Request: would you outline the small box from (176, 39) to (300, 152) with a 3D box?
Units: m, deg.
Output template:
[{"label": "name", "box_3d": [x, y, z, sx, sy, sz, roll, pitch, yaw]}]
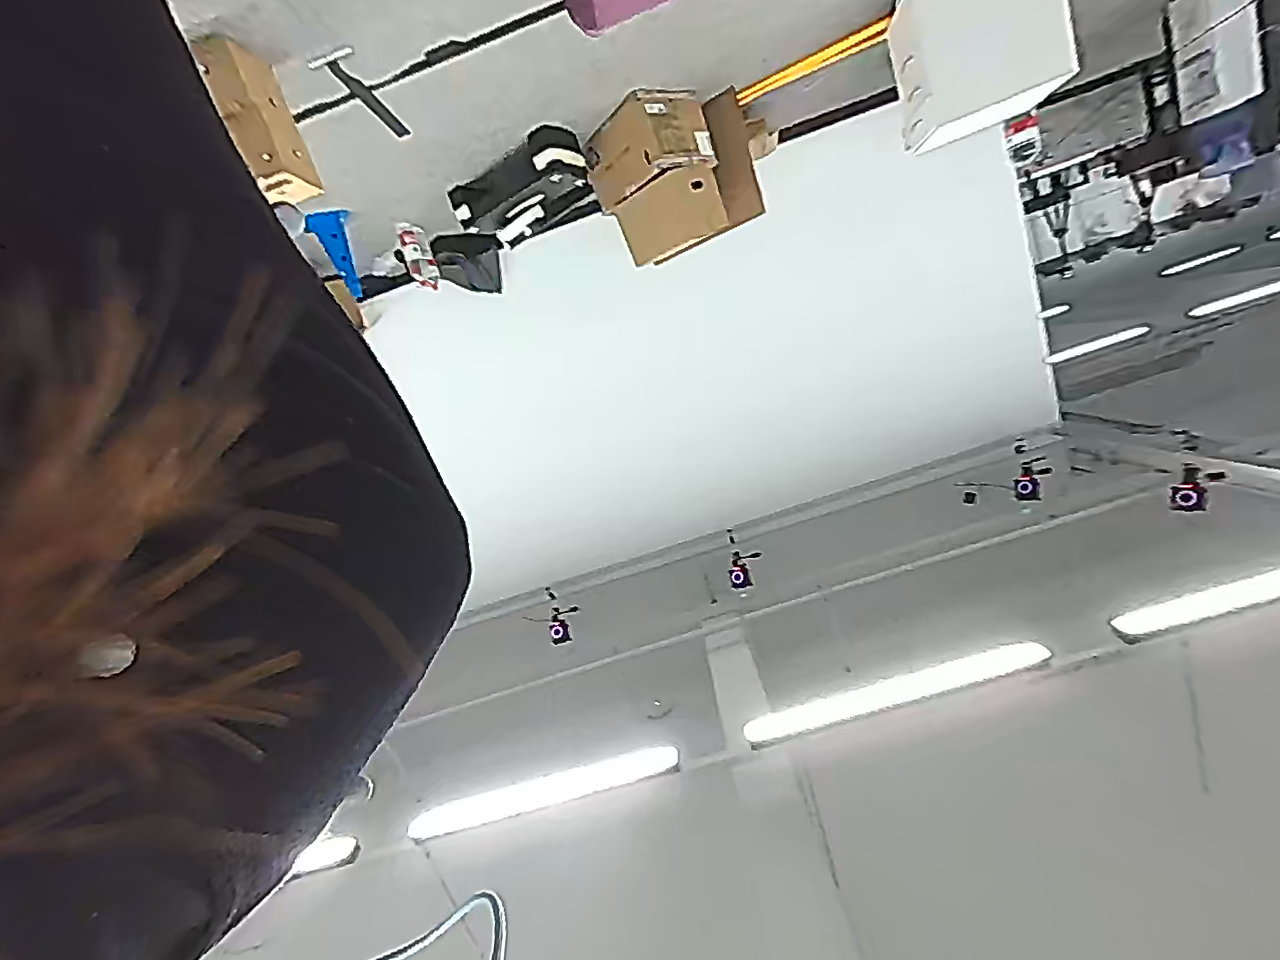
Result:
[{"label": "small box", "box_3d": [-1.078, -1.031, 1.458, 0.168, 0.176, 0.179, -18, -169, 8]}]
